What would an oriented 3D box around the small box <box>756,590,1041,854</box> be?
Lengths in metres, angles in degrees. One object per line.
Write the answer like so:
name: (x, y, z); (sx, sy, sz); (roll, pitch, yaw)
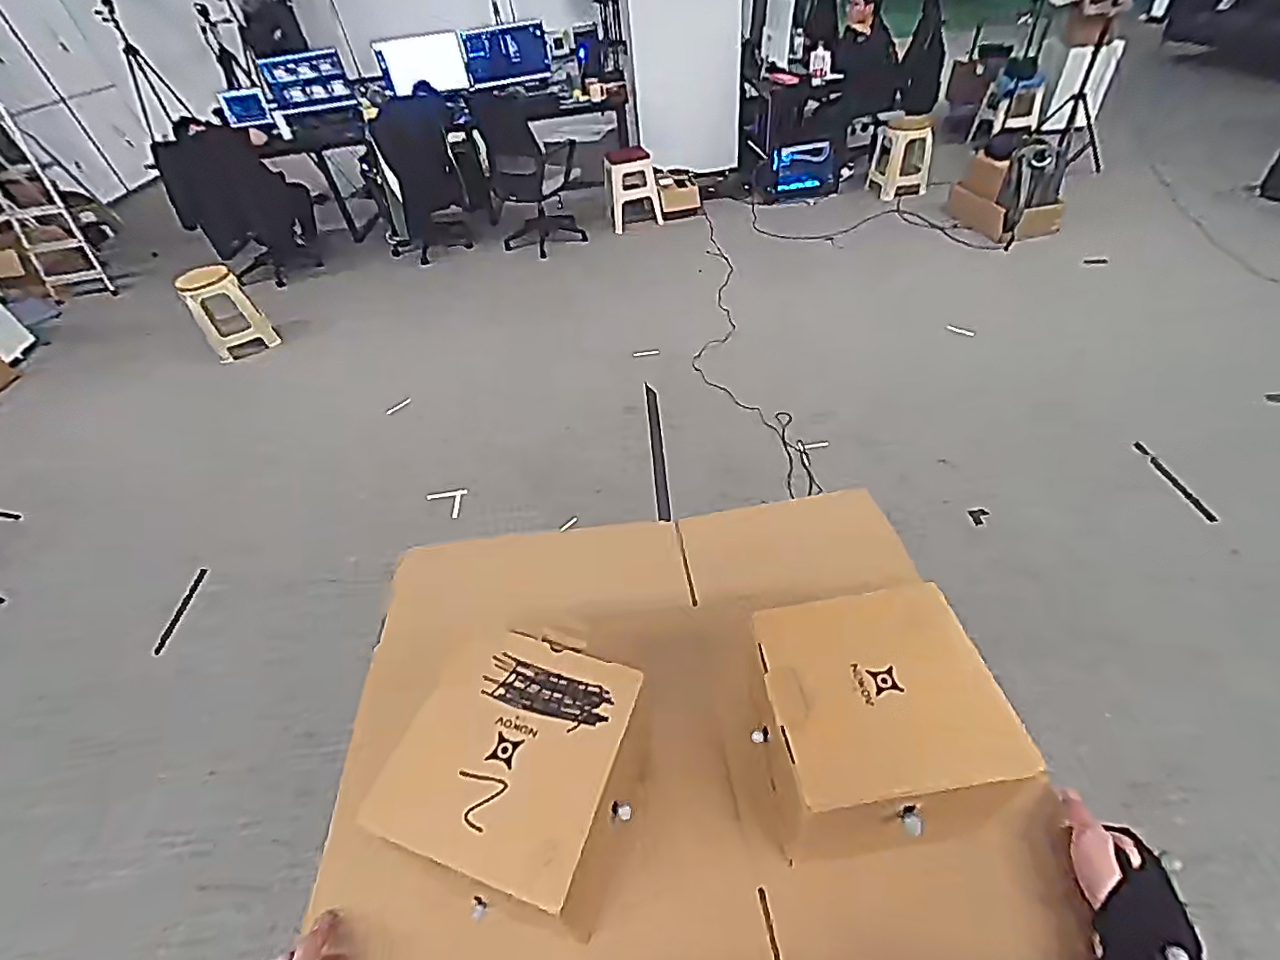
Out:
small box: (0.213, 0.229, 0.509); (0.179, 0.176, 0.168); (-10, 43, 1)
